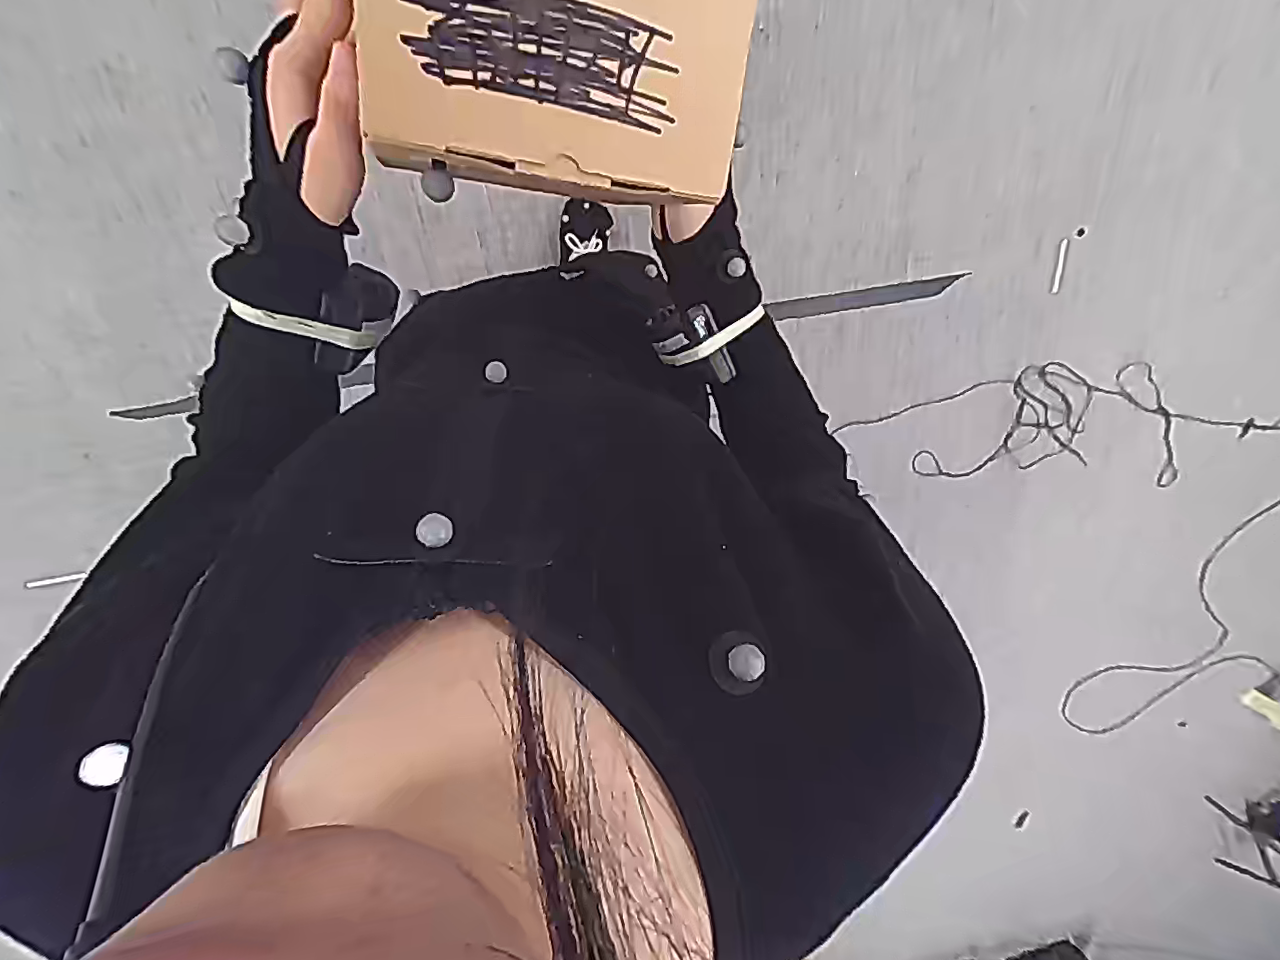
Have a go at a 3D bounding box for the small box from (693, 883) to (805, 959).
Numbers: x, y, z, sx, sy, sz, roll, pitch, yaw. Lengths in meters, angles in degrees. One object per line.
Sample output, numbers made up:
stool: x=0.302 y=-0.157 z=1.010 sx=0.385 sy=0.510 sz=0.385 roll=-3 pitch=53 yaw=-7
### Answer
small box: x=0.192 y=0.838 z=0.927 sx=0.168 sy=0.176 sz=0.179 roll=-10 pitch=117 yaw=-5

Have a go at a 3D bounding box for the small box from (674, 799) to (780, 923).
small box: x=0.167 y=0.764 z=1.071 sx=0.168 sy=0.176 sz=0.179 roll=-10 pitch=116 yaw=-5

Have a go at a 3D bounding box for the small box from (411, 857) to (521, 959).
small box: x=-0.324 y=0.870 z=1.038 sx=0.168 sy=0.176 sz=0.179 roll=-6 pitch=116 yaw=-7
